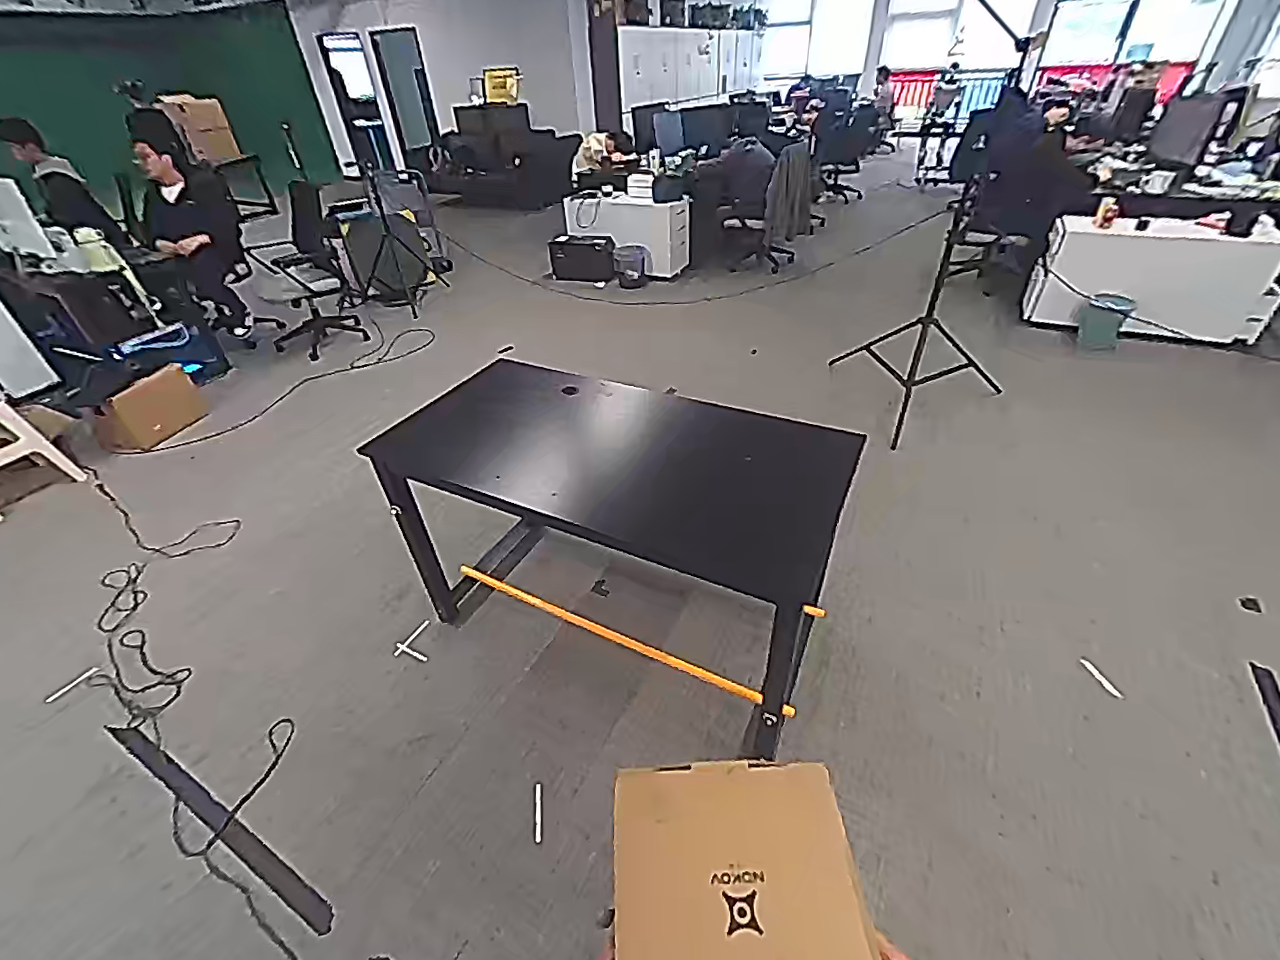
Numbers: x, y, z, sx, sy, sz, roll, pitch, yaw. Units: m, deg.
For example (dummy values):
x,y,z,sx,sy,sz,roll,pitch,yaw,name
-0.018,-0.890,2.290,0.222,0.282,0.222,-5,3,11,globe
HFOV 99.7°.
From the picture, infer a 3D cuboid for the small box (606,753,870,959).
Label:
x,y,z,sx,sy,sz,roll,pitch,yaw,name
0.058,0.334,0.411,0.168,0.176,0.179,-2,41,-2,small box
